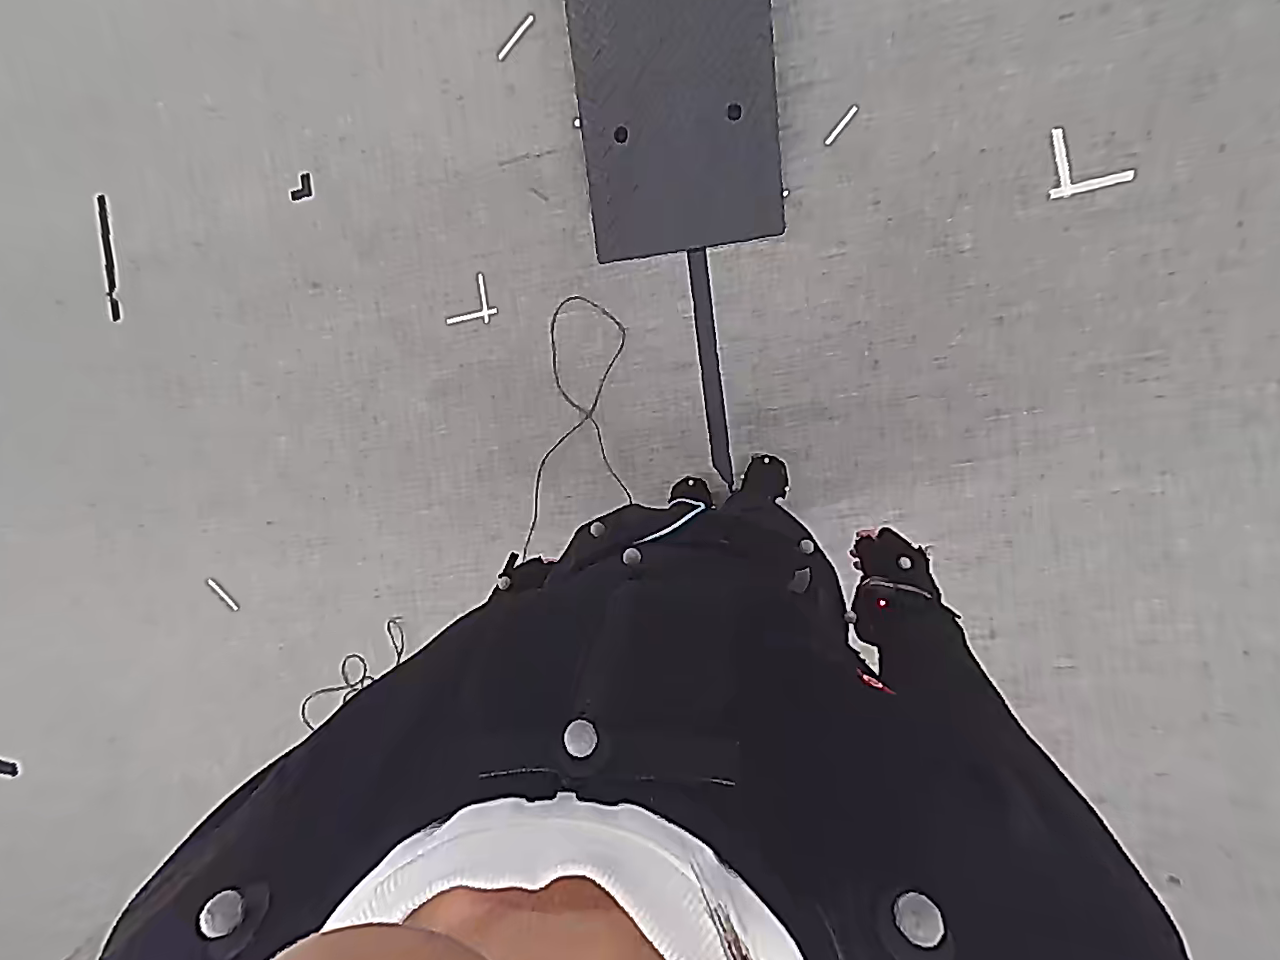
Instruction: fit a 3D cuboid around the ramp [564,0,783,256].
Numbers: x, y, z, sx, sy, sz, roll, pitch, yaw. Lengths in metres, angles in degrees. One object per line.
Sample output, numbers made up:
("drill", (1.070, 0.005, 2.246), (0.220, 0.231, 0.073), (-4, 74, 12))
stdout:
("ramp", (0.065, -1.102, 1.301), (0.509, 0.206, 0.991), (-7, 92, 9))
